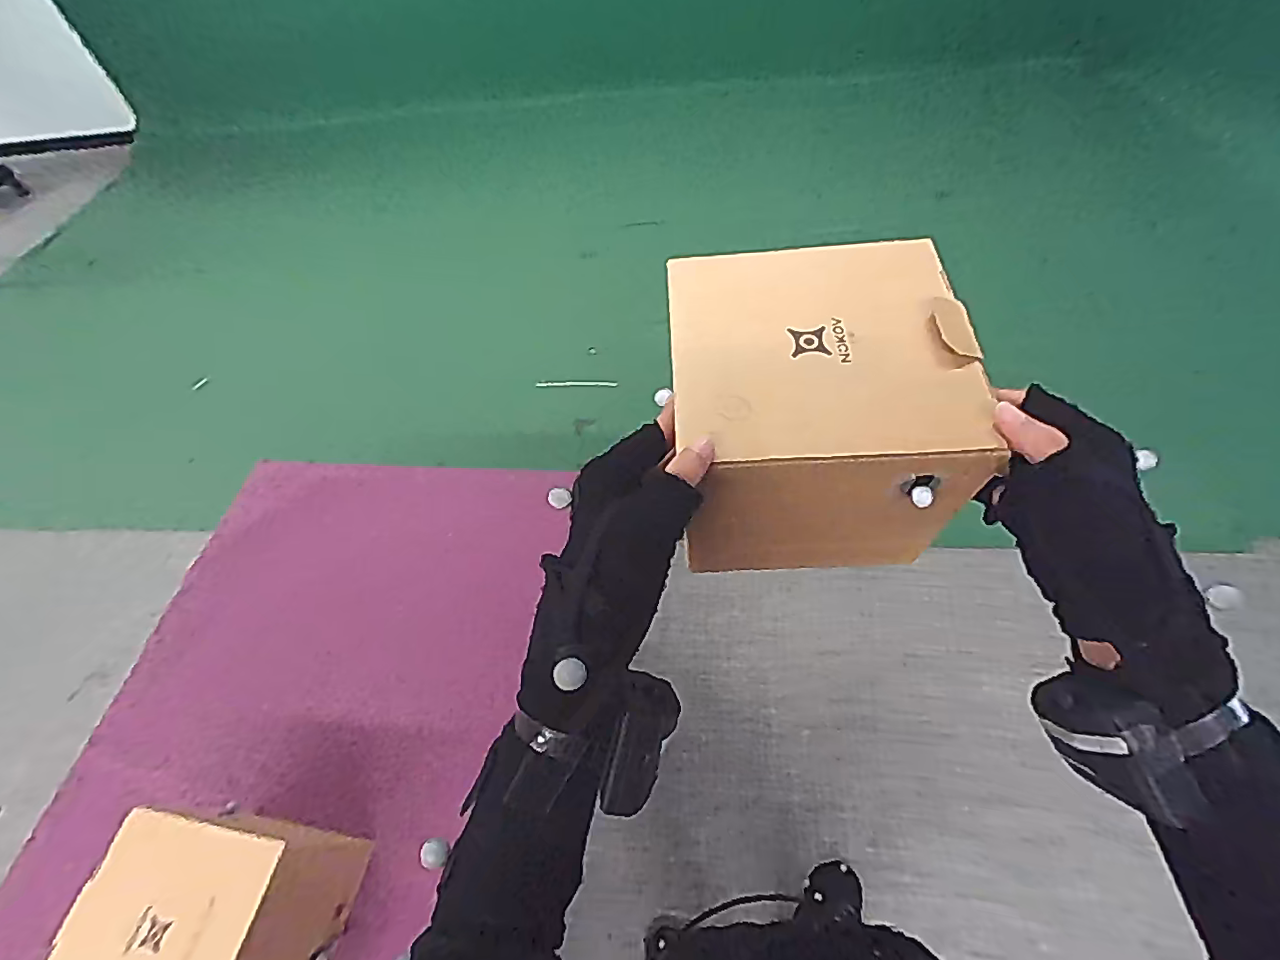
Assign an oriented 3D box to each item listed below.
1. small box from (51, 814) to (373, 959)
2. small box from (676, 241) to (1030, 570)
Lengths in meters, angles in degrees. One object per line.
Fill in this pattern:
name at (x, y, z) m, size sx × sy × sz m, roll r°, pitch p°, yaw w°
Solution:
small box at (-0.408, 0.441, 0.528) m, size 0.179 × 0.176 × 0.168 m, roll 5°, pitch 58°, yaw 10°
small box at (0.119, -0.041, 0.387) m, size 0.179 × 0.176 × 0.168 m, roll -3°, pitch 60°, yaw 4°
